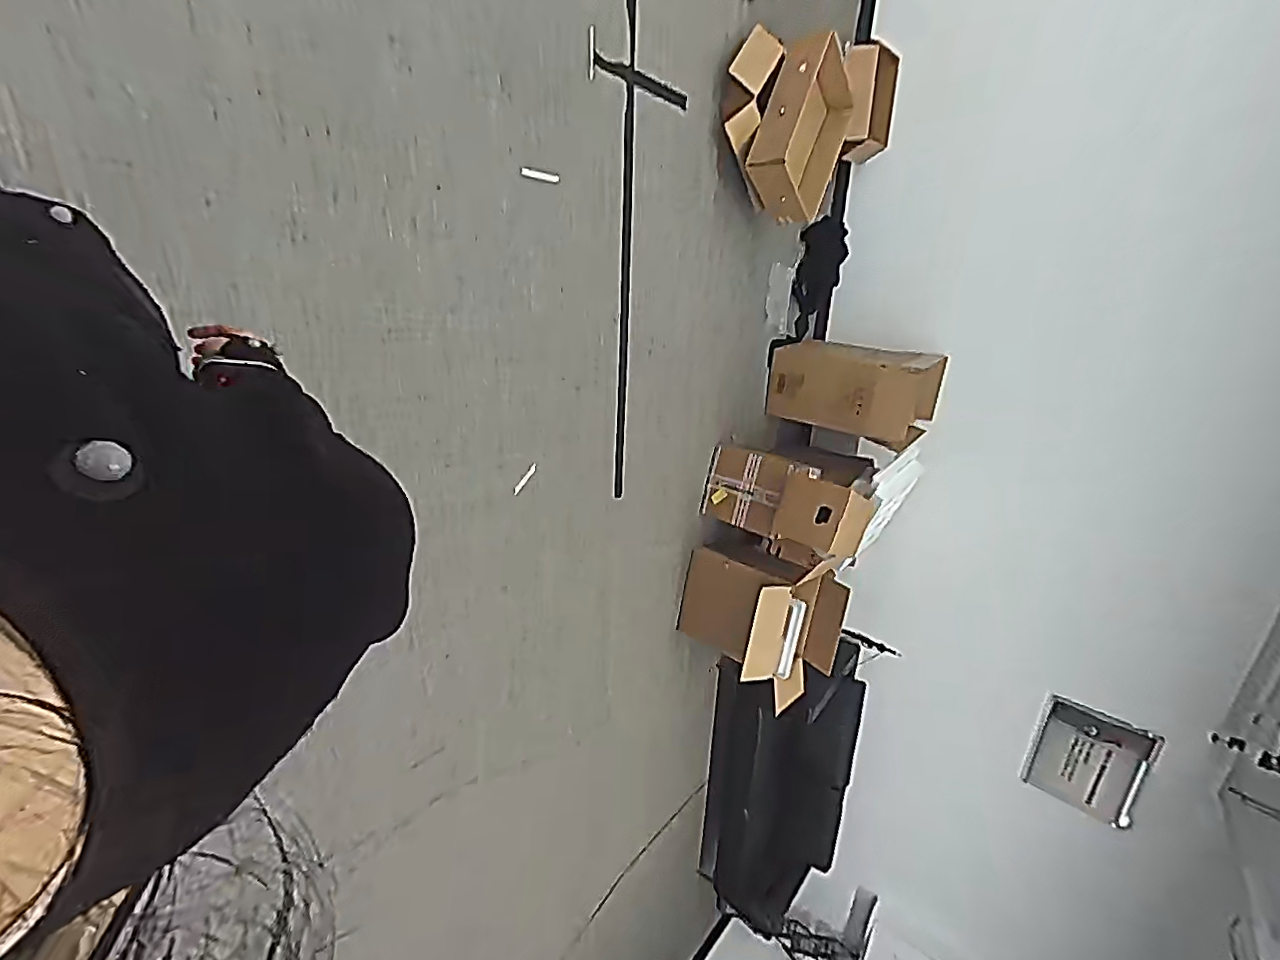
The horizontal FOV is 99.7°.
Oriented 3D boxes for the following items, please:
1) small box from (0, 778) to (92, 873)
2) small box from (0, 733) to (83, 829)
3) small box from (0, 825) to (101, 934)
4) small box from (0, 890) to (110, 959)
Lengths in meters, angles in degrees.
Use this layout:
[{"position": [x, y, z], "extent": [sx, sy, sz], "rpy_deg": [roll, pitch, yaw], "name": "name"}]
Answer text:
[{"position": [-1.129, 0.673, 0.966], "extent": [0.168, 0.176, 0.179], "rpy_deg": [-22, 121, -44], "name": "small box"}, {"position": [-1.251, 0.633, 1.065], "extent": [0.168, 0.176, 0.179], "rpy_deg": [-22, 121, -45], "name": "small box"}, {"position": [-1.009, 0.714, 0.865], "extent": [0.179, 0.176, 0.168], "rpy_deg": [-23, 120, -45], "name": "small box"}, {"position": [-0.881, 0.746, 0.766], "extent": [0.168, 0.176, 0.179], "rpy_deg": [-24, 122, -44], "name": "small box"}]
